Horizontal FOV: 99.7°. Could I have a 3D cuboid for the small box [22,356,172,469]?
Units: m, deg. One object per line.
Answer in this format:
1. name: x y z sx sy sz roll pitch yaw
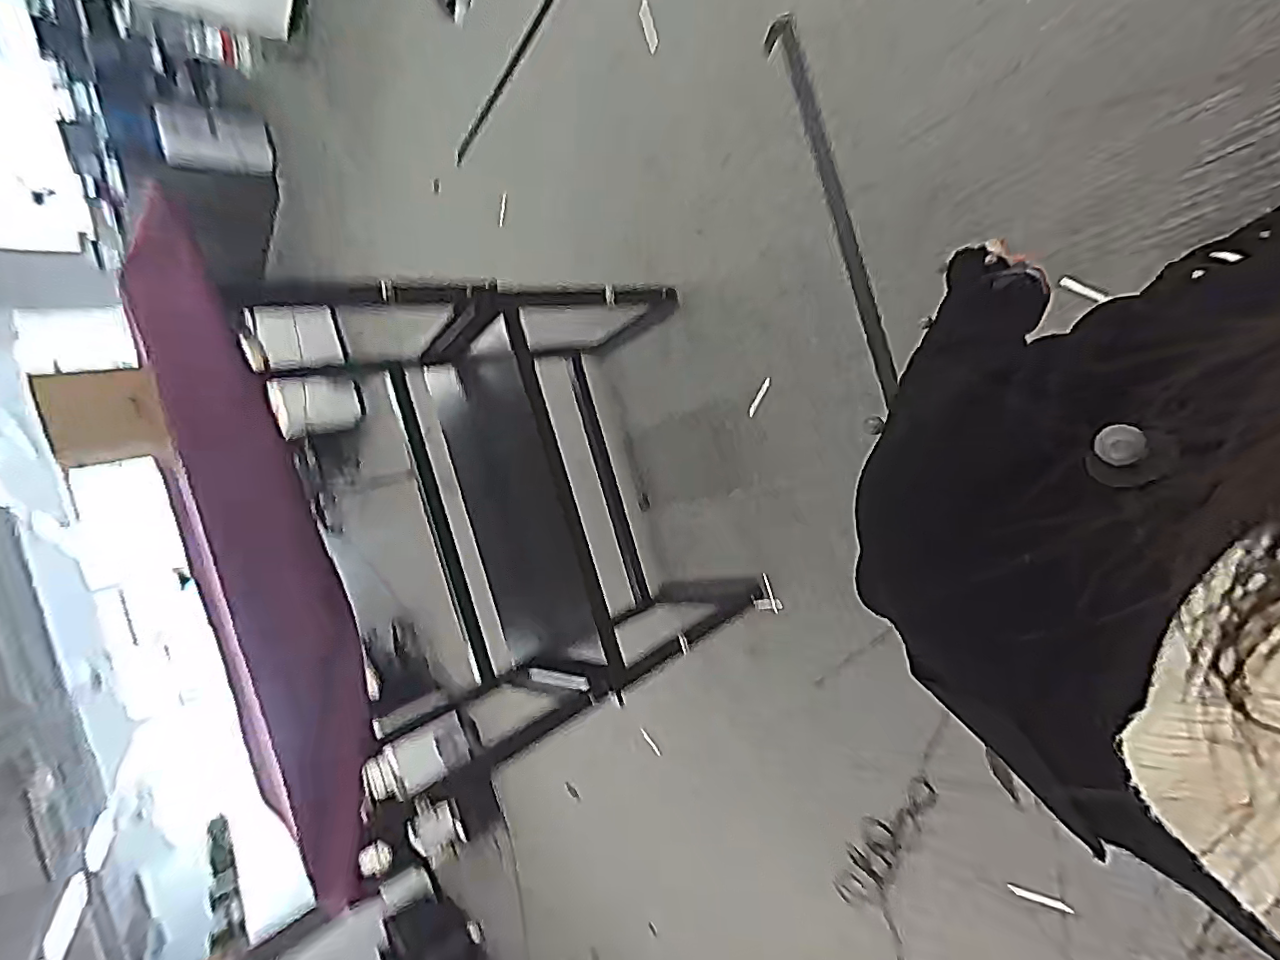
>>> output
1. small box: -1.050 -0.135 1.060 0.168 0.176 0.179 -18 89 50
